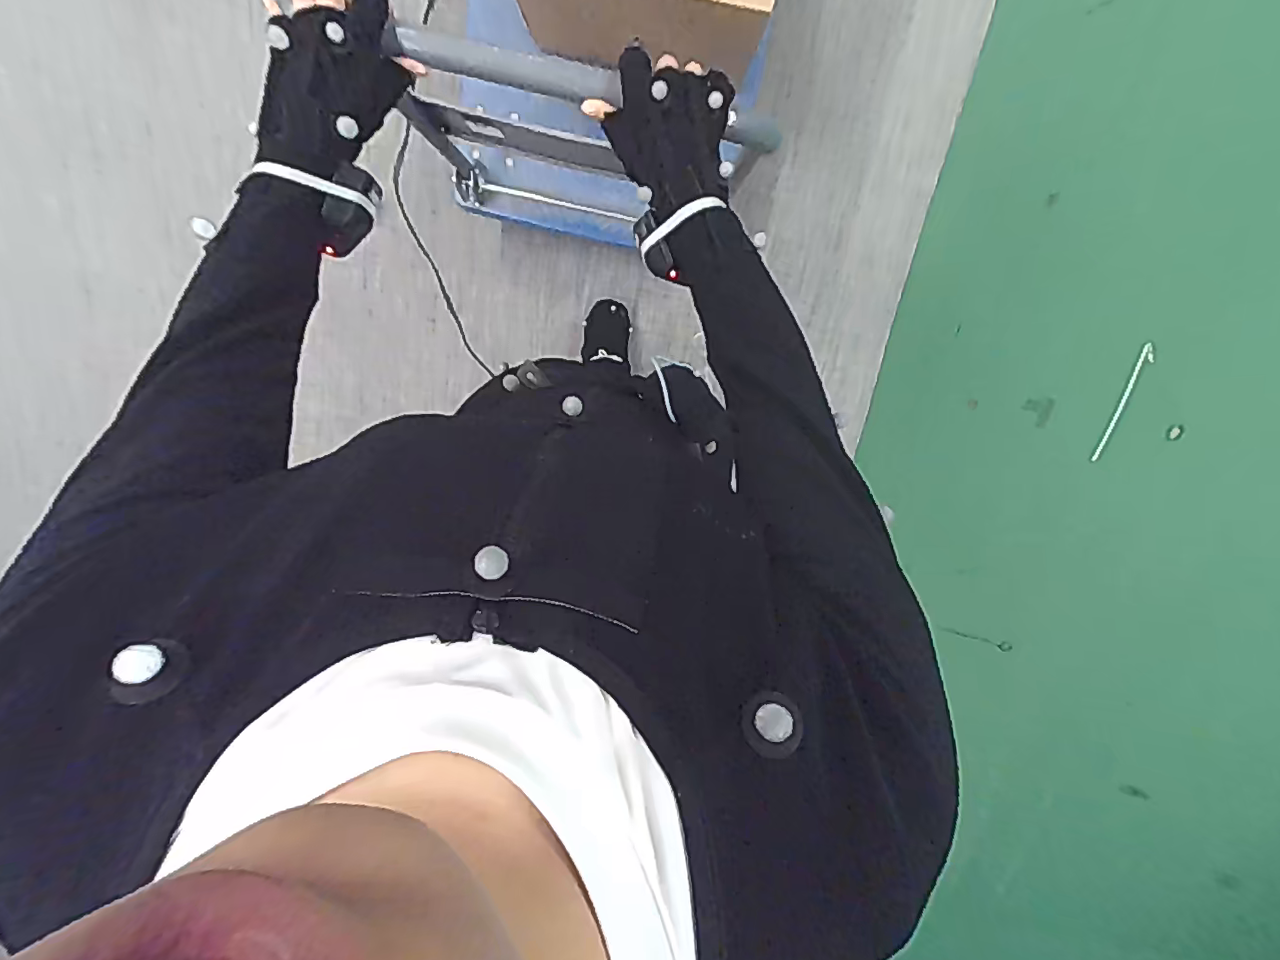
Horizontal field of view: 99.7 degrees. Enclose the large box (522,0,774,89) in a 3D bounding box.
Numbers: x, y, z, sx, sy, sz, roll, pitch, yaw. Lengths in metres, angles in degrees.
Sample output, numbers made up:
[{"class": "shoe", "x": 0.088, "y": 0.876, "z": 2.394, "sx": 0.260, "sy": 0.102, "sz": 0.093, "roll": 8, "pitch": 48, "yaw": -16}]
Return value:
[{"class": "large box", "x": 0.030, "y": -0.902, "z": 0.884, "sx": 0.408, "sy": 0.320, "sz": 0.320, "roll": 11, "pitch": 107, "yaw": -1}]
